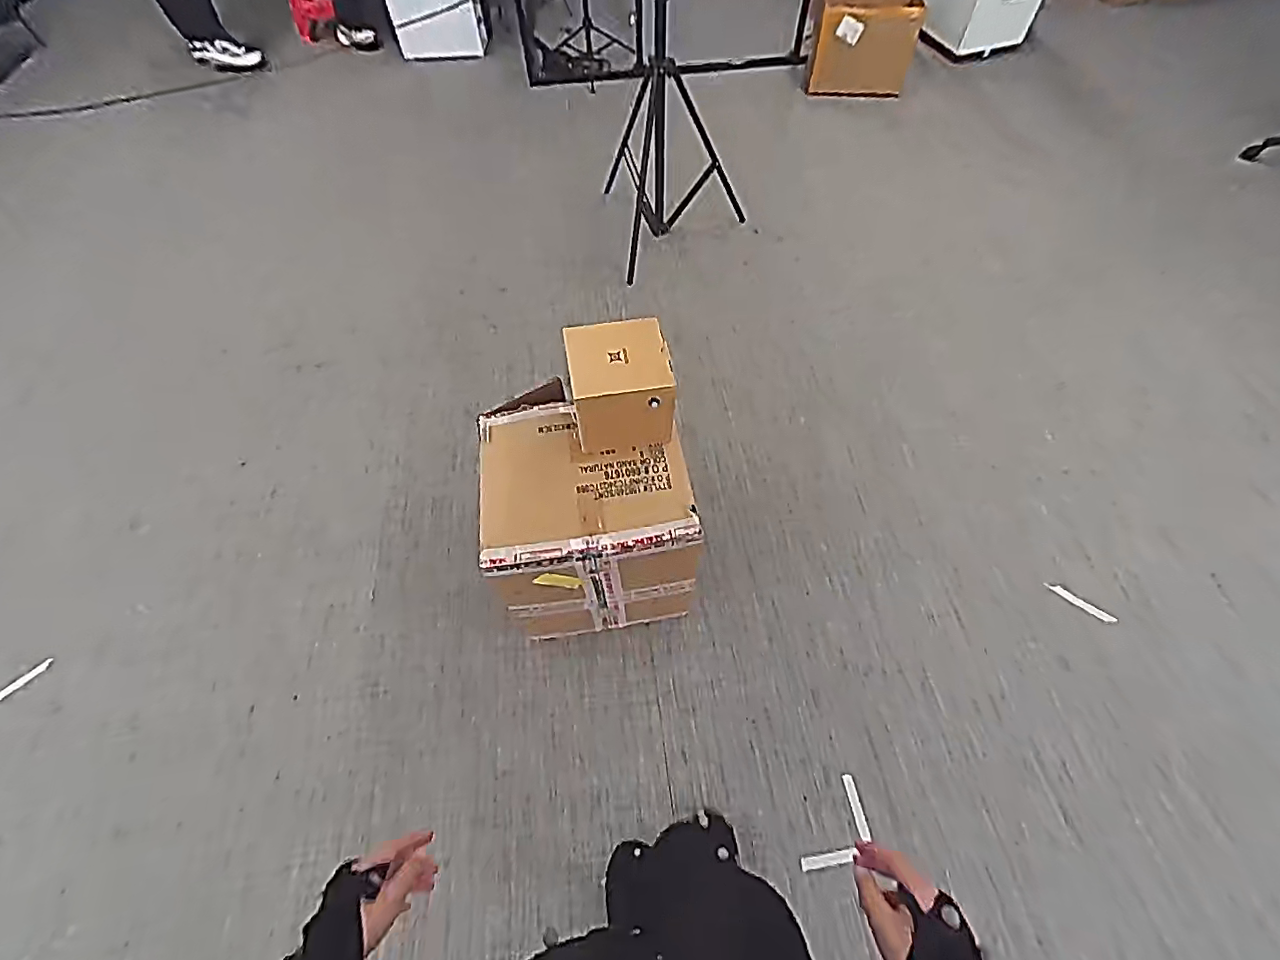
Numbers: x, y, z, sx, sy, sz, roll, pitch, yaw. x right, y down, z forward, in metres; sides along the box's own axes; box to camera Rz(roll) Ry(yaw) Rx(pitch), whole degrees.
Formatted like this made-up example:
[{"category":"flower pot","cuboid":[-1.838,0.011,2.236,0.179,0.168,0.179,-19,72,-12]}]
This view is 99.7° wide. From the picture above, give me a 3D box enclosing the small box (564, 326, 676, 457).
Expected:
[{"category":"small box","cuboid":[-0.038,-0.158,1.006,0.179,0.176,0.168,-9,60,-7]}]
